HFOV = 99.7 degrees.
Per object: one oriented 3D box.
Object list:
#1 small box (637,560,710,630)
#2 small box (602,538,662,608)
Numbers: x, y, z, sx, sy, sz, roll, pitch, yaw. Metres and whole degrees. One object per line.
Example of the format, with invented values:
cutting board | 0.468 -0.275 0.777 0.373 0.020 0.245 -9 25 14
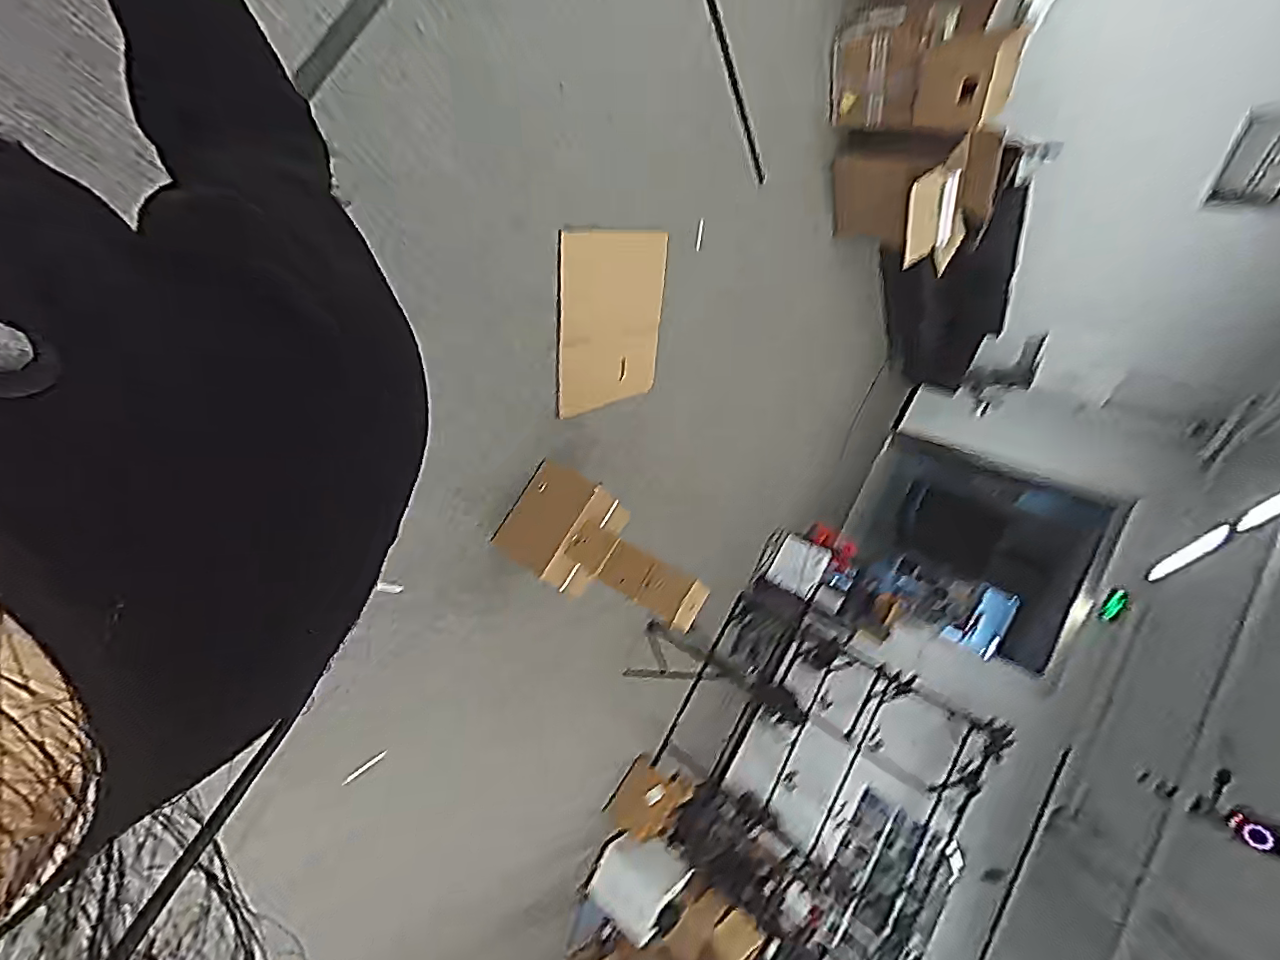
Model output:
small box | 0.117 0.402 1.906 0.168 0.176 0.179 -58 148 -12
small box | -0.016 0.340 1.982 0.179 0.176 0.168 -60 148 -10
